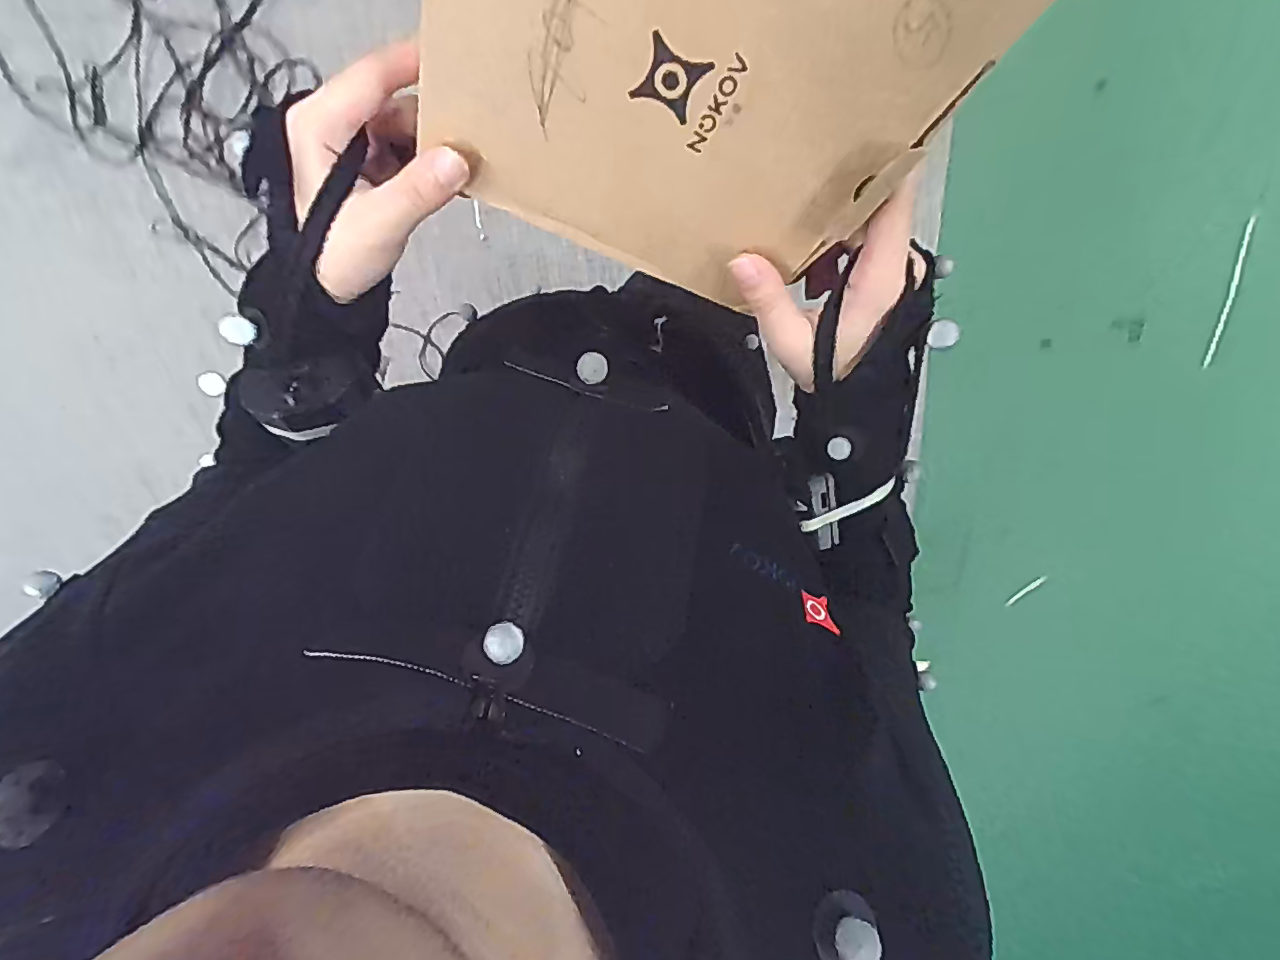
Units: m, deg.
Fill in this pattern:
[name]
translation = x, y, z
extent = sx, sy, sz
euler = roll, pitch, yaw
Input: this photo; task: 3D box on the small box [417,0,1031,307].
[small box]
translation = 0.022, -0.213, 0.224
extent = 0.179, 0.176, 0.168
euler = 16, 152, -16
